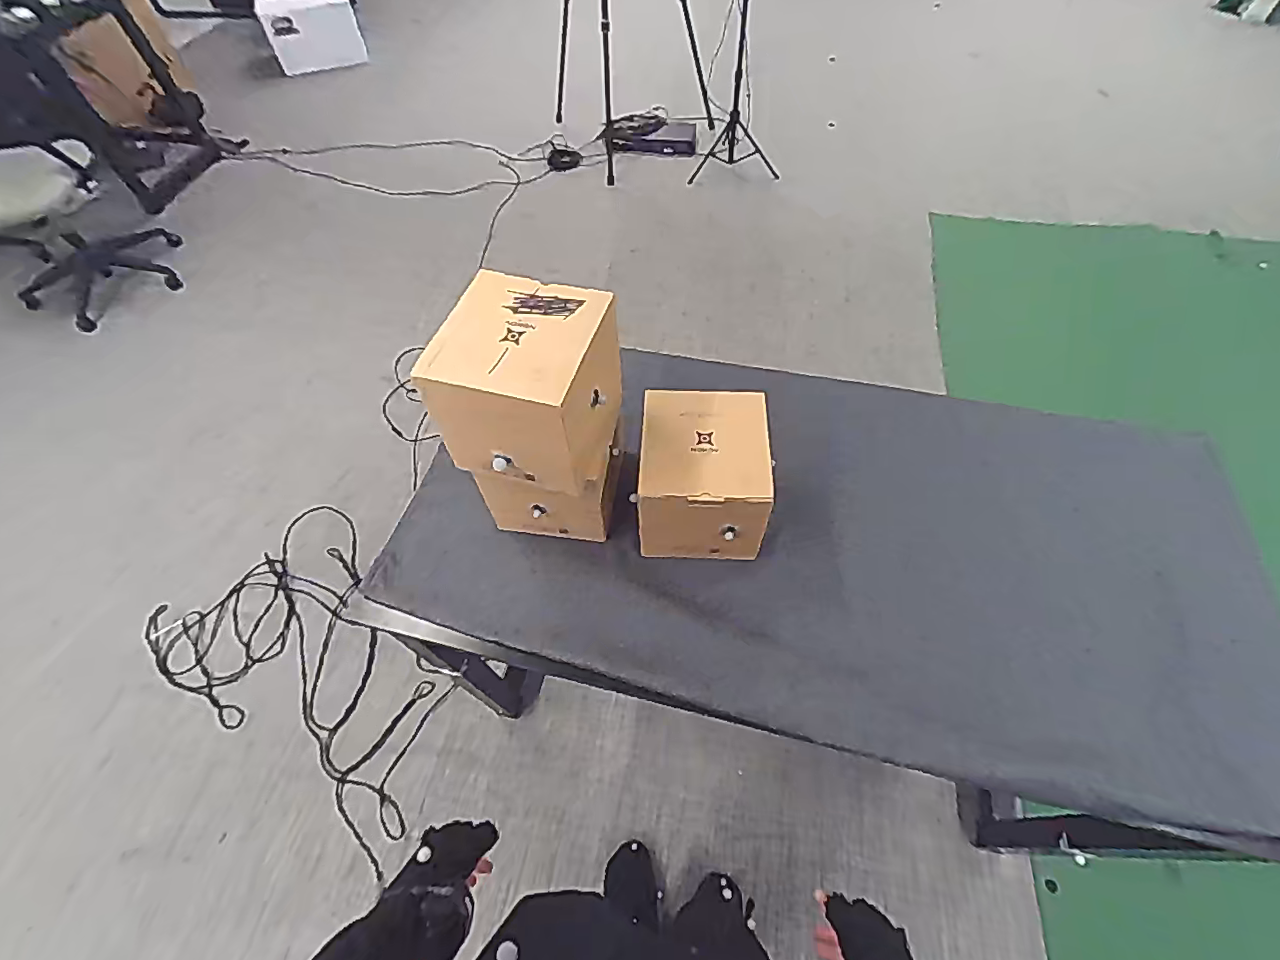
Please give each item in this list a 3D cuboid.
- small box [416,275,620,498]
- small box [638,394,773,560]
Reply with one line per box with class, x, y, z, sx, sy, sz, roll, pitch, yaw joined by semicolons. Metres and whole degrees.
small box;-0.126;-0.107;0.640;0.168;0.176;0.179;13;58;10
small box;0.086;0.000;0.760;0.168;0.176;0.179;2;56;2
